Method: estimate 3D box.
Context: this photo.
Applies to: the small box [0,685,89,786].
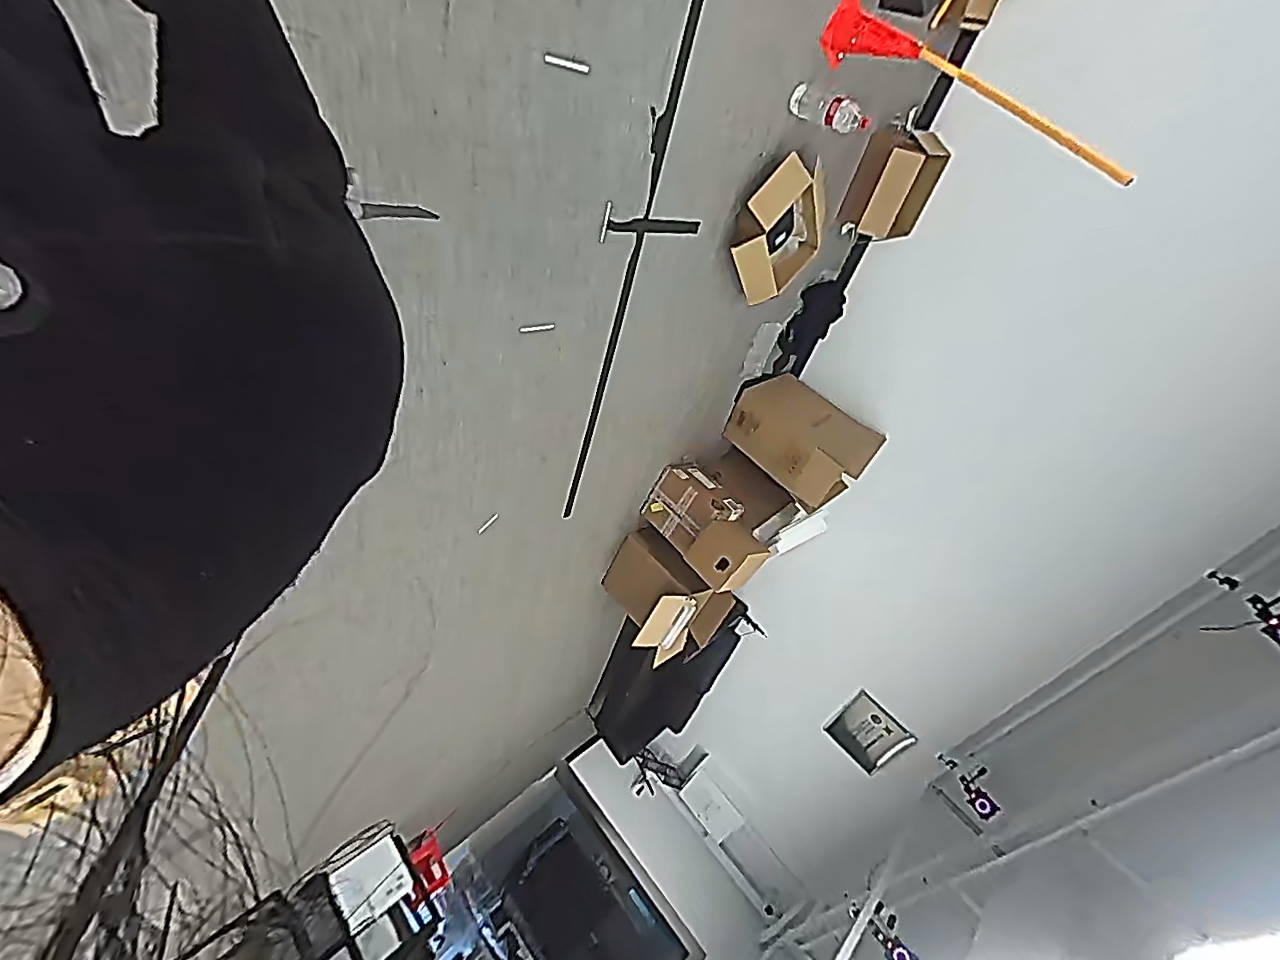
[{"bbox_3d":[-1.719,0.713,1.521,0.168,0.176,0.179,-32,149,-33],"label":"small box"}]
